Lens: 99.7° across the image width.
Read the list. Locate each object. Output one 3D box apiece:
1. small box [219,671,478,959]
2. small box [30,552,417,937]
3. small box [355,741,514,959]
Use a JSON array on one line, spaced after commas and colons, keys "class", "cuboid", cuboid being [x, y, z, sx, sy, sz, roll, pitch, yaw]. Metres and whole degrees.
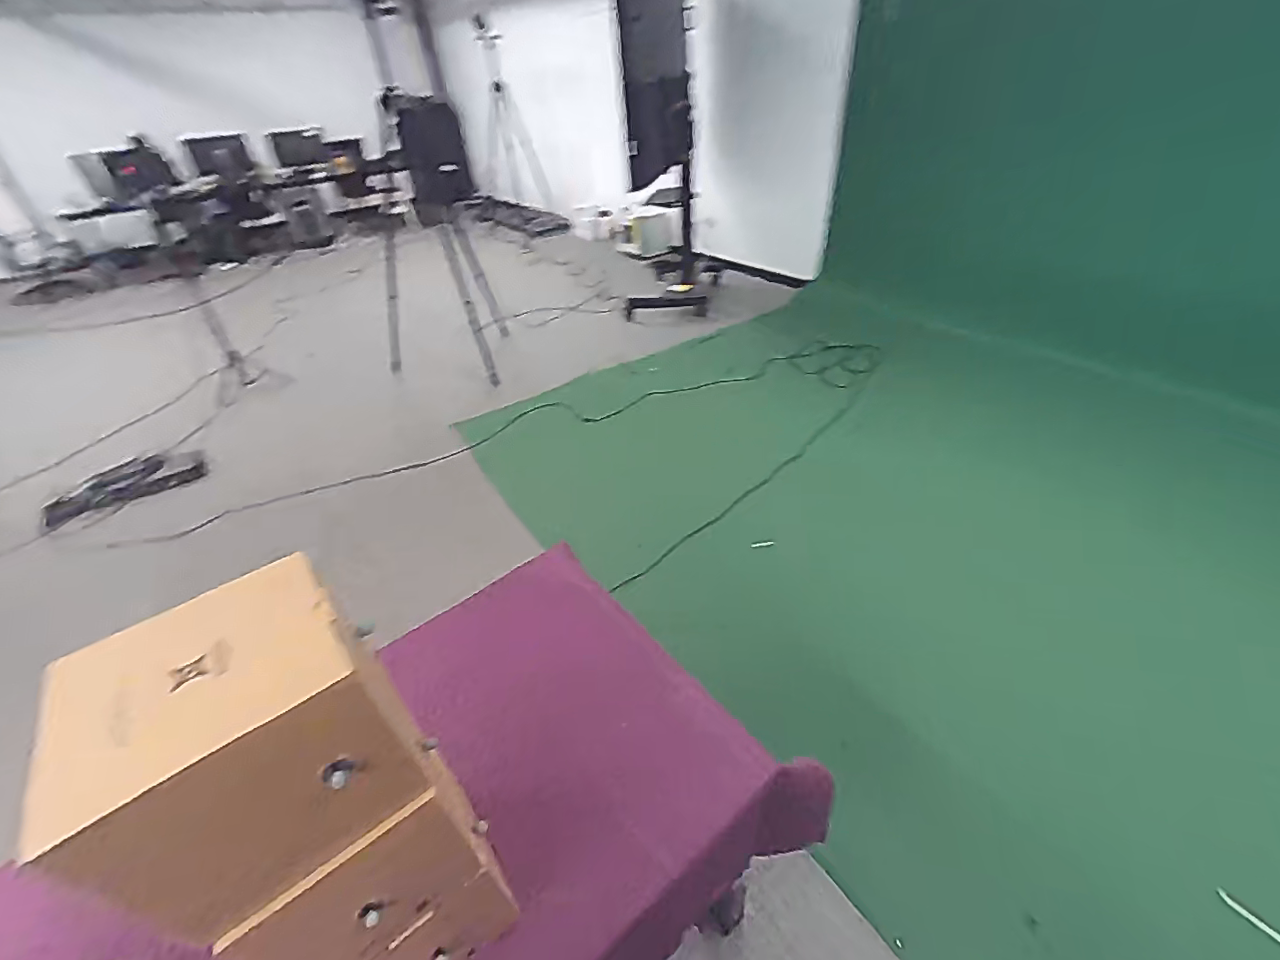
[{"class": "small box", "cuboid": [-0.280, 0.326, 0.523, 0.168, 0.176, 0.179, -28, 43, -27]}, {"class": "small box", "cuboid": [-0.297, 0.196, 0.425, 0.179, 0.176, 0.168, -29, 43, -27]}, {"class": "small box", "cuboid": [-0.266, 0.454, 0.626, 0.168, 0.176, 0.179, -28, 44, -27]}]
